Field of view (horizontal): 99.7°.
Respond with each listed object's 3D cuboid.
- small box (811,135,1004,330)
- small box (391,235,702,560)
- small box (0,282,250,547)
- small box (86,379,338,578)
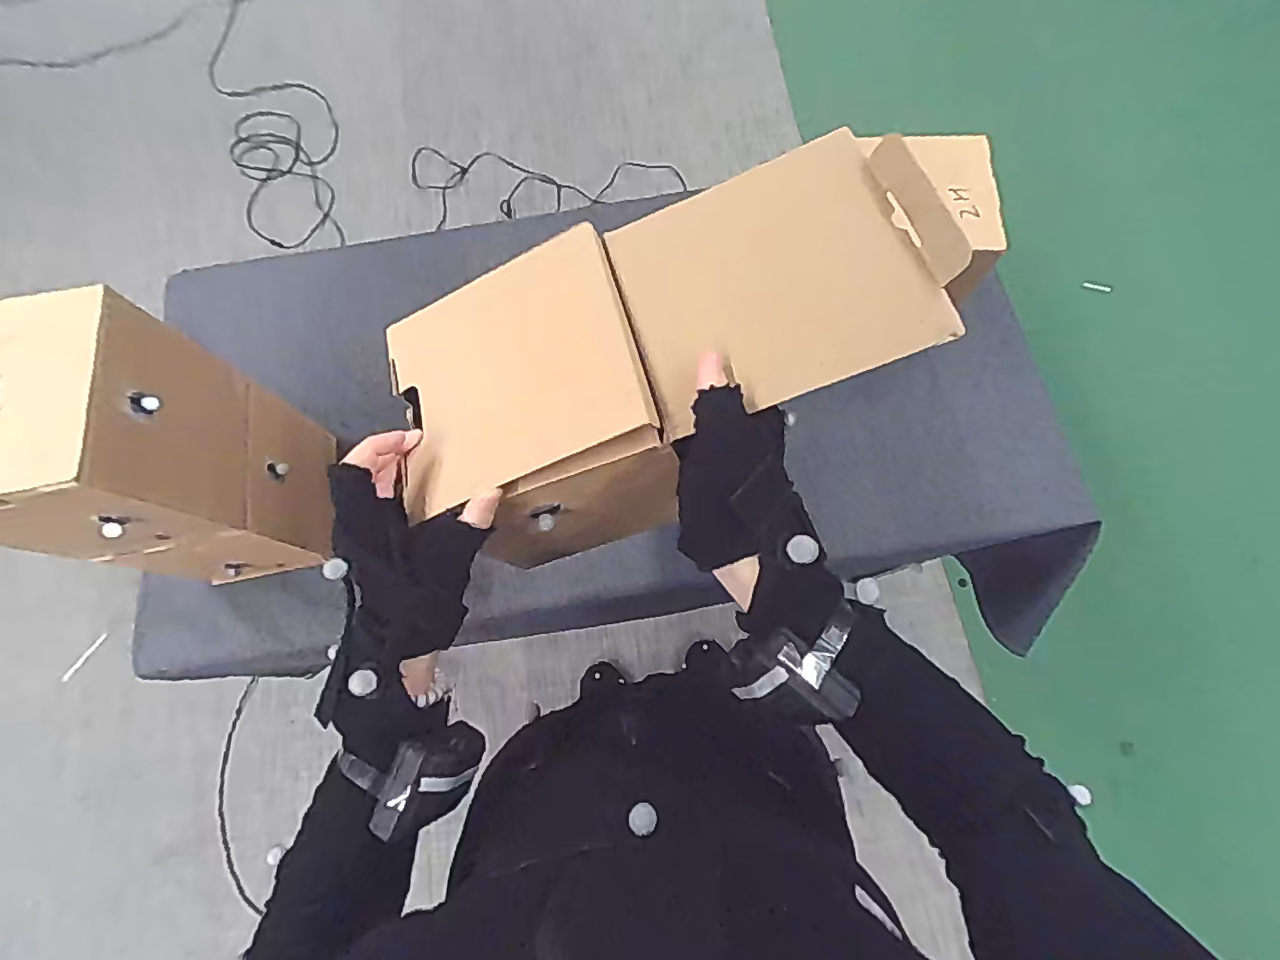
[{"bbox_3d":[0.325,-0.310,0.701,0.179,0.176,0.168,2,74,3],"label":"small box"},{"bbox_3d":[-0.064,-0.046,0.430,0.179,0.176,0.168,-19,69,8],"label":"small box"},{"bbox_3d":[-0.491,-0.043,0.487,0.168,0.176,0.179,-9,72,-2],"label":"small box"},{"bbox_3d":[-0.484,0.007,0.642,0.168,0.176,0.179,-11,73,-1],"label":"small box"}]
